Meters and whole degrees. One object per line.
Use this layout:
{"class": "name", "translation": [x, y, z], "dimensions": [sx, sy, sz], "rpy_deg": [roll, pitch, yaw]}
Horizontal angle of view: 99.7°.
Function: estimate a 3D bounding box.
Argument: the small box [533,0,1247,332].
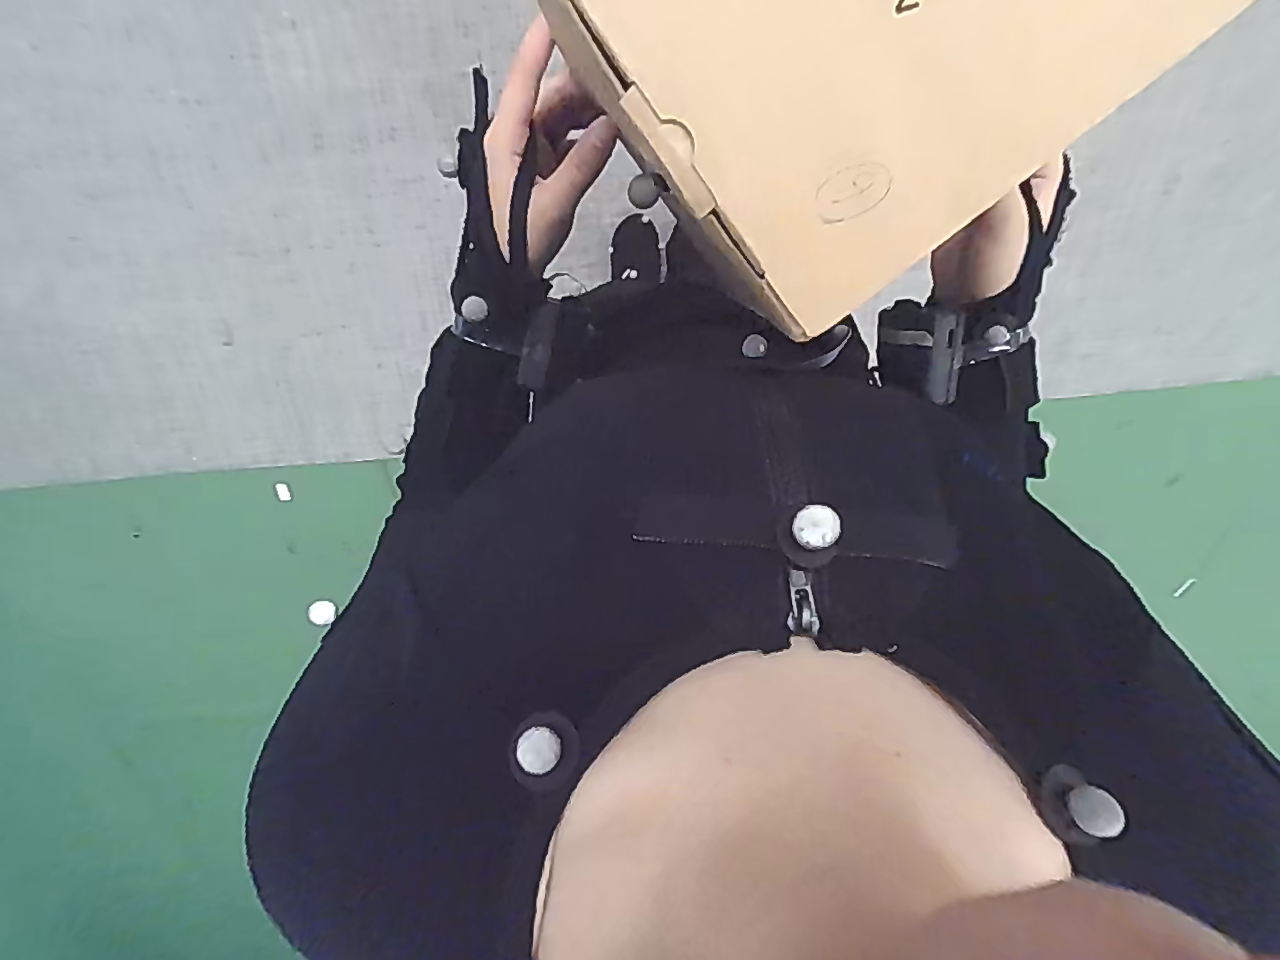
{"class": "small box", "translation": [0.073, -0.192, 0.231], "dimensions": [0.179, 0.176, 0.168], "rpy_deg": [-36, 109, 16]}
